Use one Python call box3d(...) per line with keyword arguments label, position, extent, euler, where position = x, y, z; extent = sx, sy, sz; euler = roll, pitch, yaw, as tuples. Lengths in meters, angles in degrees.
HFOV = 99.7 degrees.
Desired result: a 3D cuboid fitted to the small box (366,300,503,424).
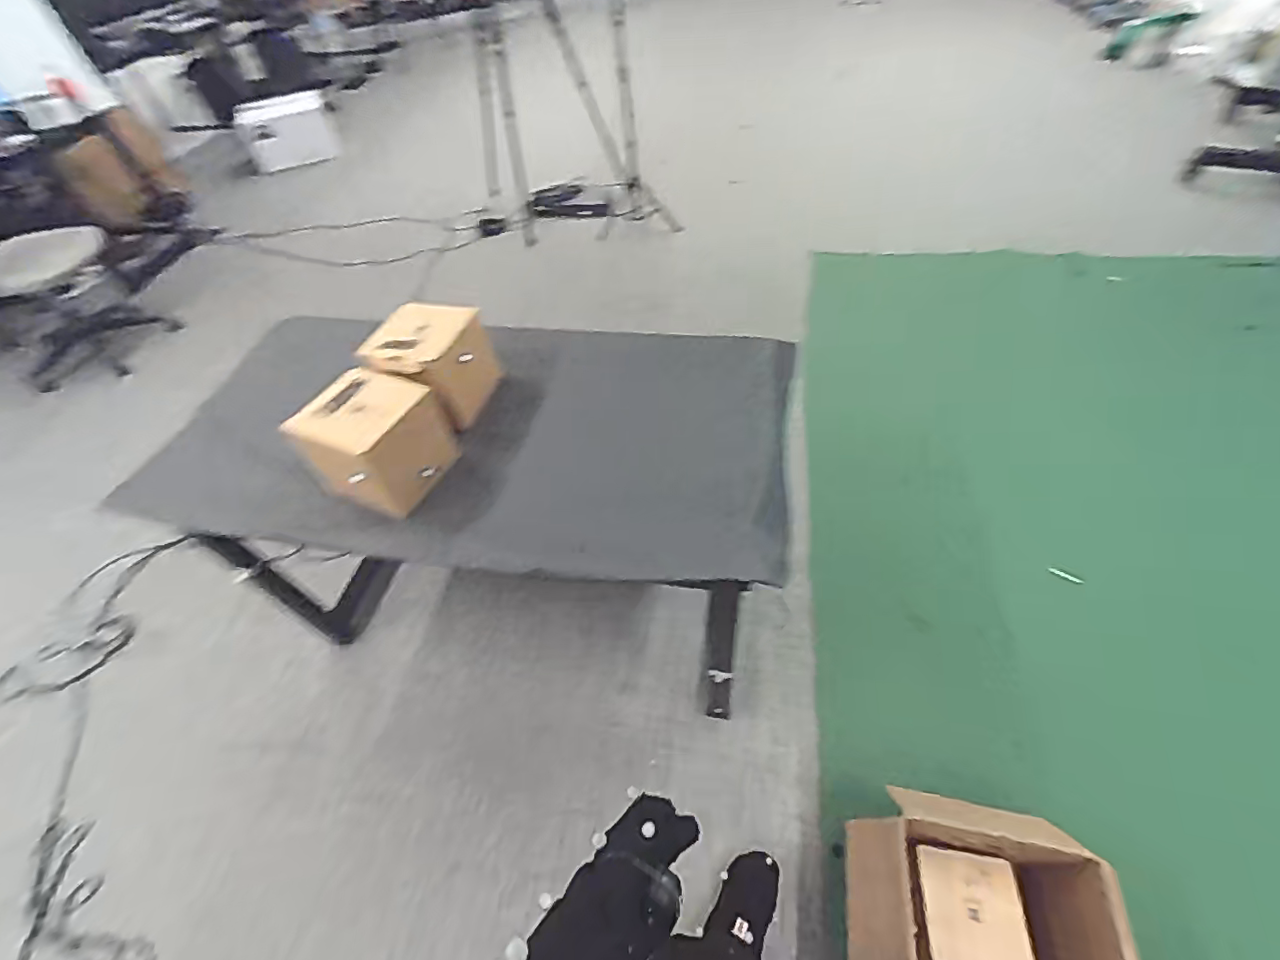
box3d(label="small box", position=(-0.397, -0.234, 1.081), extent=(0.168, 0.176, 0.179), euler=(9, 52, 14))
